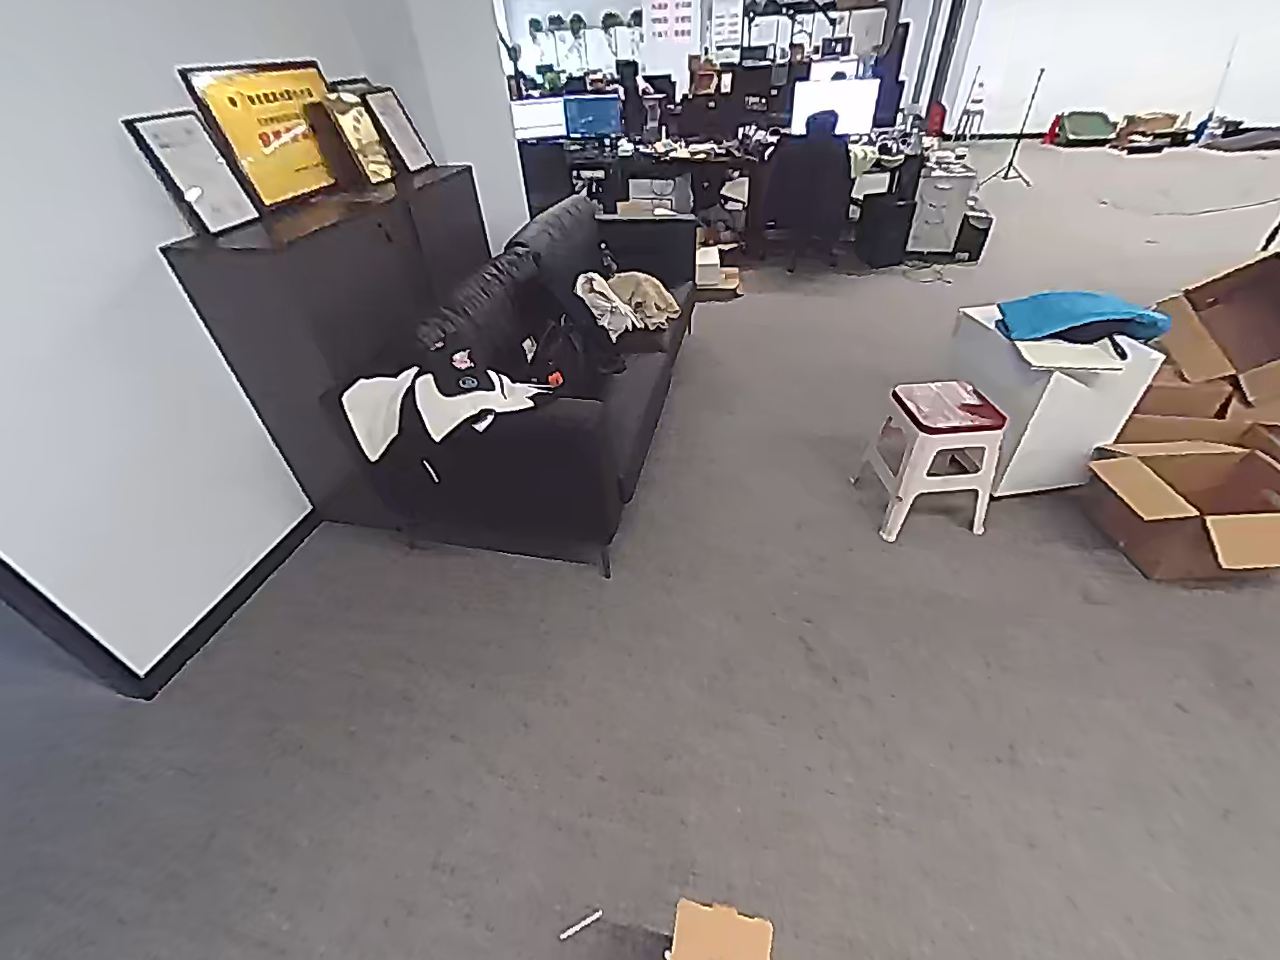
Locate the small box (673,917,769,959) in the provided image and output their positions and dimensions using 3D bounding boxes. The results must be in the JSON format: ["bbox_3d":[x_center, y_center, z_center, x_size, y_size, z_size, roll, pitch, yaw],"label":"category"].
[{"bbox_3d":[0.149,0.981,1.036,0.179,0.176,0.168,6,40,12],"label":"small box"}]
